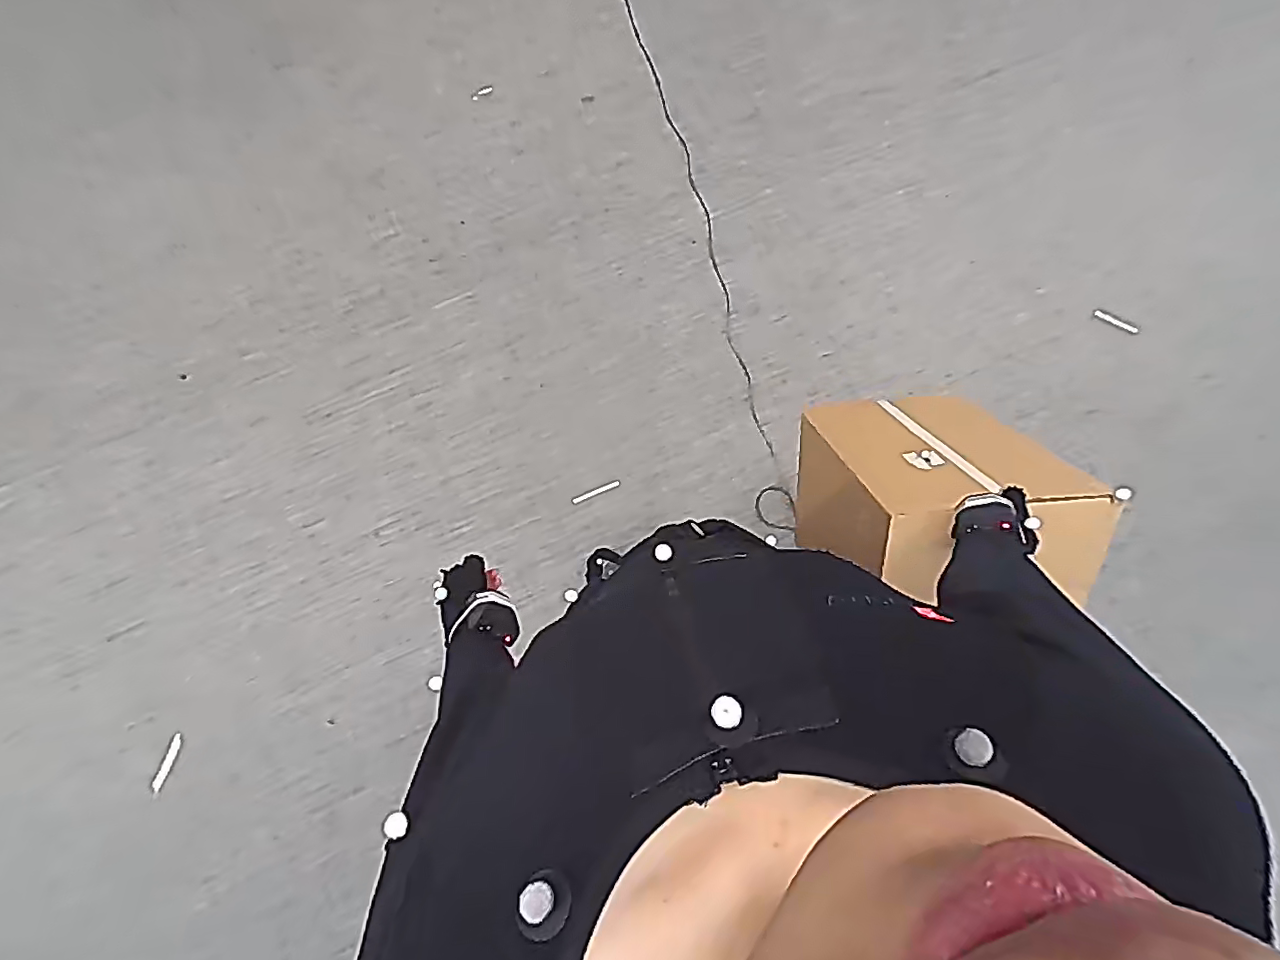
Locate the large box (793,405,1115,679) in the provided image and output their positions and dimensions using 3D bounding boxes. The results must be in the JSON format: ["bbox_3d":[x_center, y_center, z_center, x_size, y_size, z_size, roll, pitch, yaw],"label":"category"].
[{"bbox_3d":[0.494,0.087,0.975,0.320,0.408,0.320,-5,119,0],"label":"large box"}]
